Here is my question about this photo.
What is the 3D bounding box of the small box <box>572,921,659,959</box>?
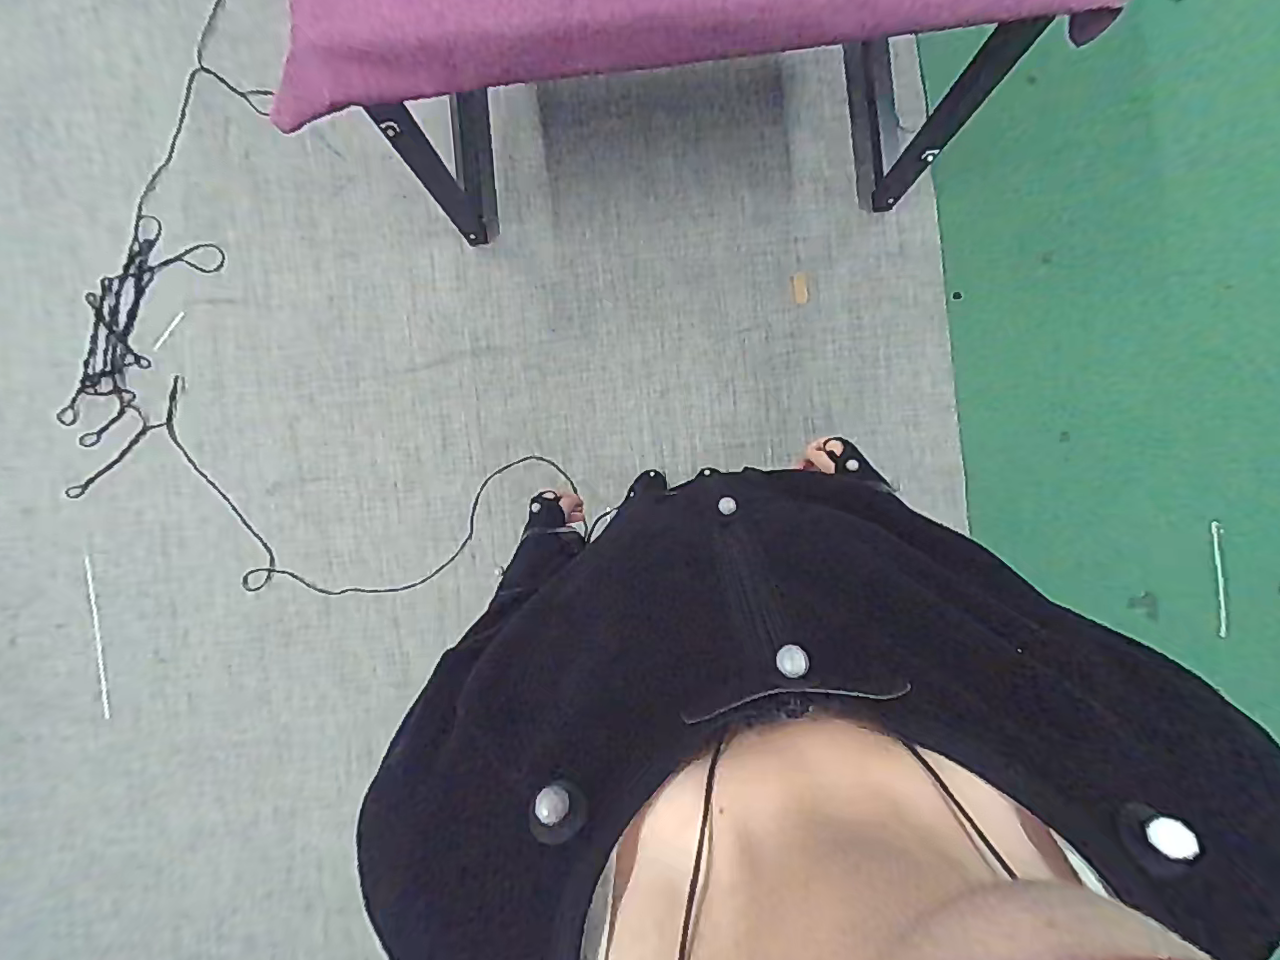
[{"bbox_3d":[-0.056,1.026,1.072,0.179,0.176,0.168,5,88,2],"label":"small box"}]

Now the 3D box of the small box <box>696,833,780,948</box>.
[{"bbox_3d":[0.243,1.036,1.381,0.179,0.176,0.168,-11,87,5],"label":"small box"}]
